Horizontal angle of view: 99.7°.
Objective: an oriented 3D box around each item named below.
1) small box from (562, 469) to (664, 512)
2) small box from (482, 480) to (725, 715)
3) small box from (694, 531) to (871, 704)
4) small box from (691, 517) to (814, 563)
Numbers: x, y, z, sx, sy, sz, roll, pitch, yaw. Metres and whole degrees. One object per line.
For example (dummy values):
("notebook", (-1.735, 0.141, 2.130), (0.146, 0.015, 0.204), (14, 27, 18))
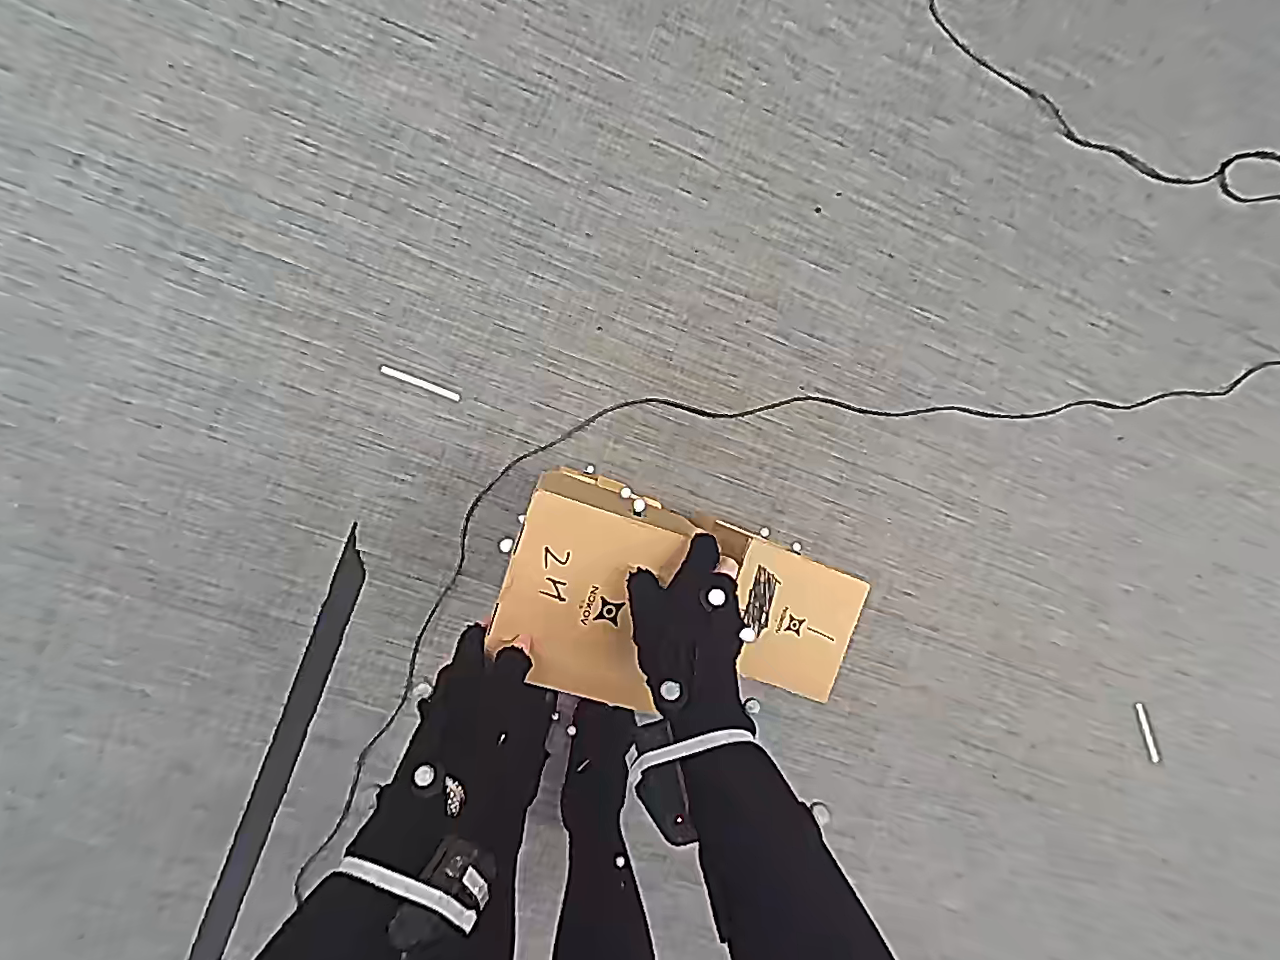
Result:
("small box", (-0.077, 0.088, 0.890), (0.168, 0.176, 0.179), (21, 90, -6))
("small box", (-0.040, 0.105, 0.556), (0.179, 0.176, 0.168), (19, 93, -9))
("small box", (0.177, 0.178, 0.759), (0.179, 0.176, 0.168), (22, 89, -9))
("small box", (0.158, 0.170, 0.923), (0.179, 0.176, 0.168), (23, 89, -8))
